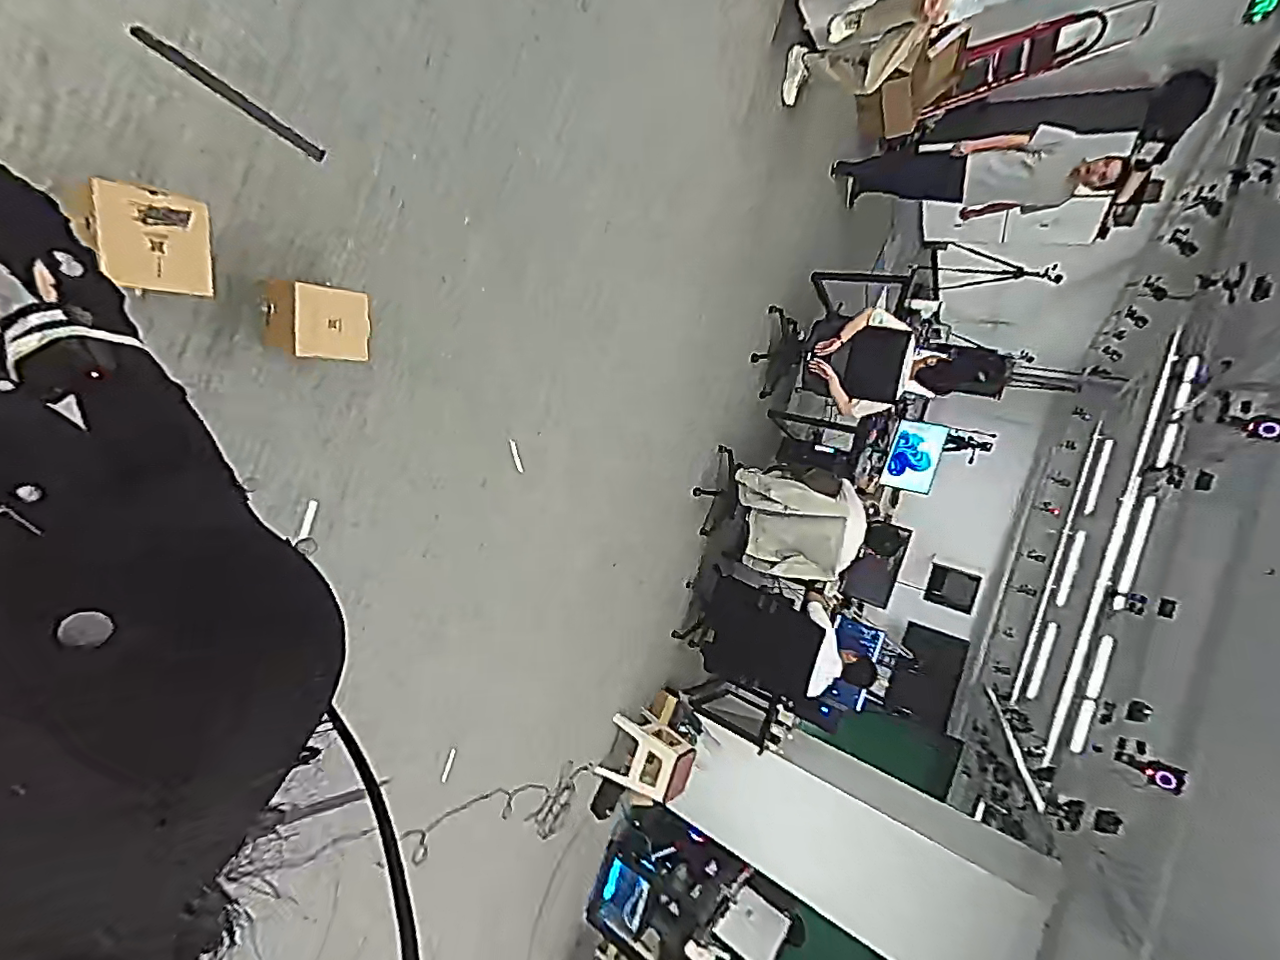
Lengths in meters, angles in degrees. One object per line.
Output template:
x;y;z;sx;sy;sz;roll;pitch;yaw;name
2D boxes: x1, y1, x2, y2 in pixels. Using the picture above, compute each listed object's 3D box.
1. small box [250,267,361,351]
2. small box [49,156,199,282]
-0.809;-0.413;1.310;0.179;0.176;0.168;-12;115;-55;small box
-0.966;-0.482;1.015;0.168;0.176;0.179;-14;117;-55;small box
